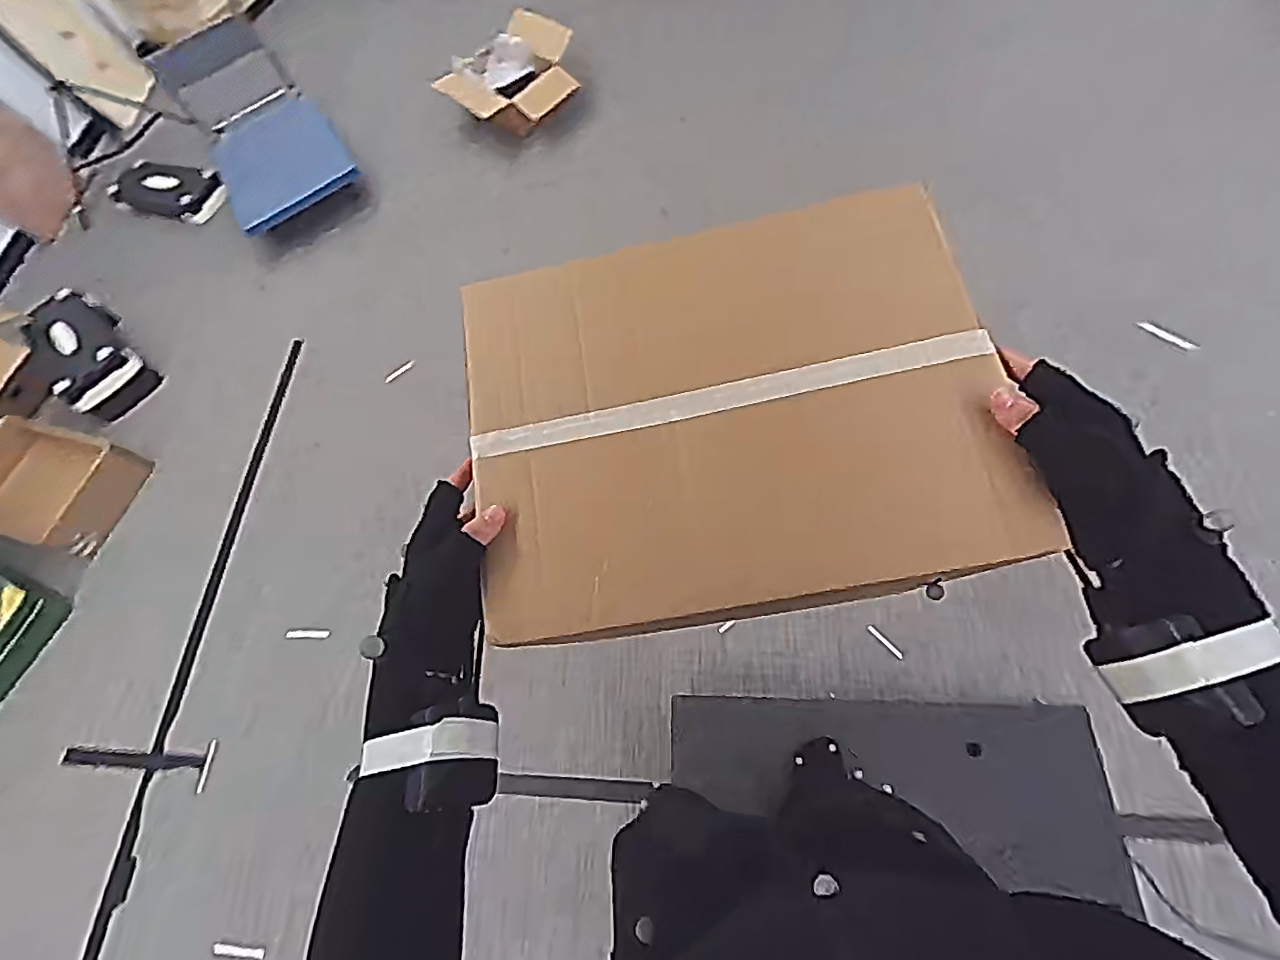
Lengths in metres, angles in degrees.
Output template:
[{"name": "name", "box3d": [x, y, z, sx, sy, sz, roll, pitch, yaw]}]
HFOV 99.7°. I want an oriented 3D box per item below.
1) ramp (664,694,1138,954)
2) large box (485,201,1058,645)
[{"name": "ramp", "box3d": [0.550, 0.756, 1.226, 0.991, 0.206, 0.509, -4, 64, 8]}, {"name": "large box", "box3d": [0.097, -0.018, 0.573, 0.408, 0.320, 0.320, -10, 72, 5]}]
